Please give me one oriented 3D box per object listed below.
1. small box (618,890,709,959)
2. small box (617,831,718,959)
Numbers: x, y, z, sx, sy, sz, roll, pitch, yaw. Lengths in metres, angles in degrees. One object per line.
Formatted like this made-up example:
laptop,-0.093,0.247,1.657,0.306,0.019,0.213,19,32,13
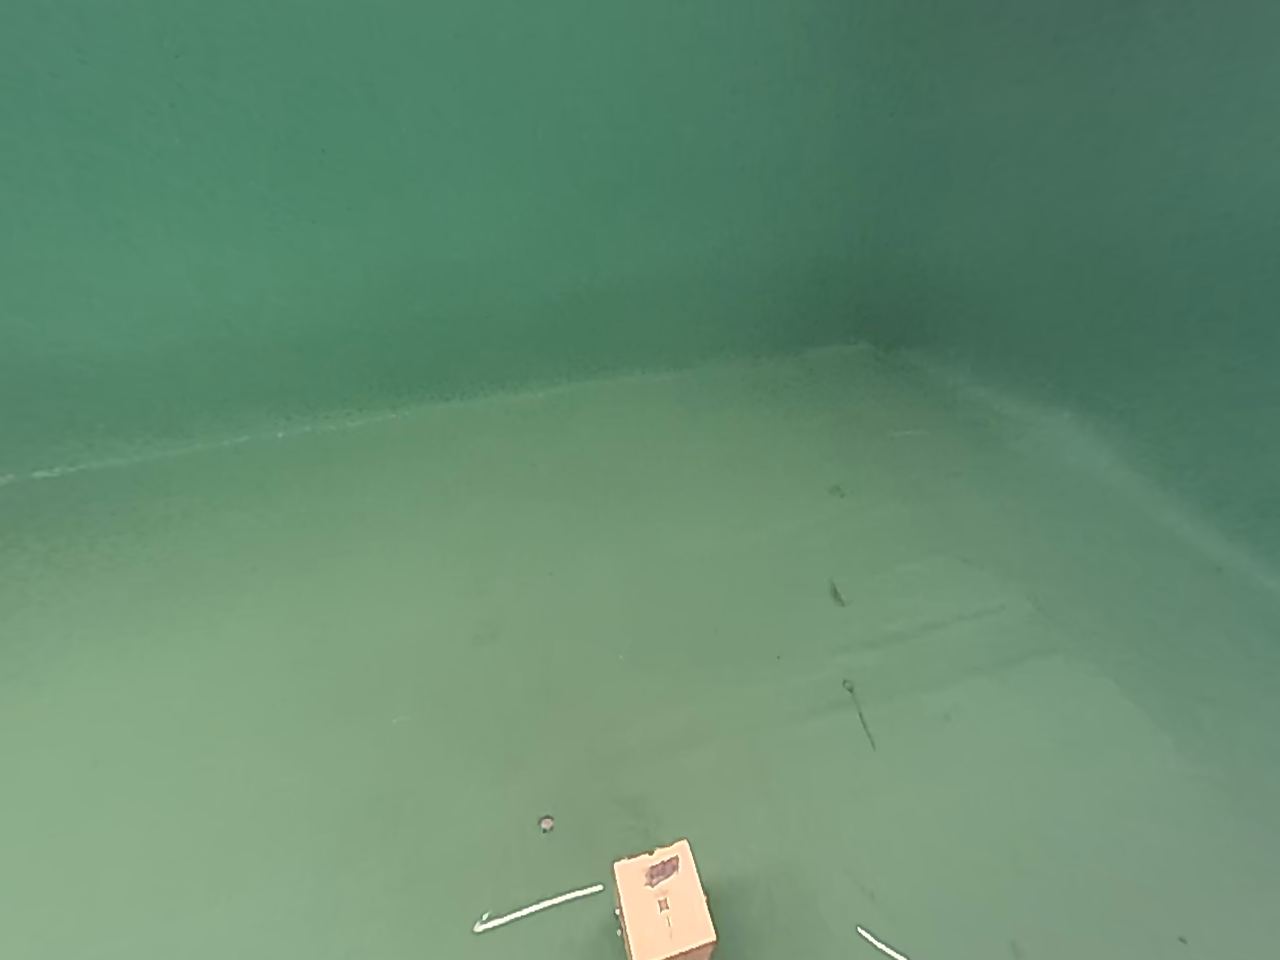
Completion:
small box,0.045,1.006,1.239,0.168,0.176,0.179,-10,42,-12
small box,0.048,0.880,1.132,0.168,0.176,0.179,-10,42,-12
